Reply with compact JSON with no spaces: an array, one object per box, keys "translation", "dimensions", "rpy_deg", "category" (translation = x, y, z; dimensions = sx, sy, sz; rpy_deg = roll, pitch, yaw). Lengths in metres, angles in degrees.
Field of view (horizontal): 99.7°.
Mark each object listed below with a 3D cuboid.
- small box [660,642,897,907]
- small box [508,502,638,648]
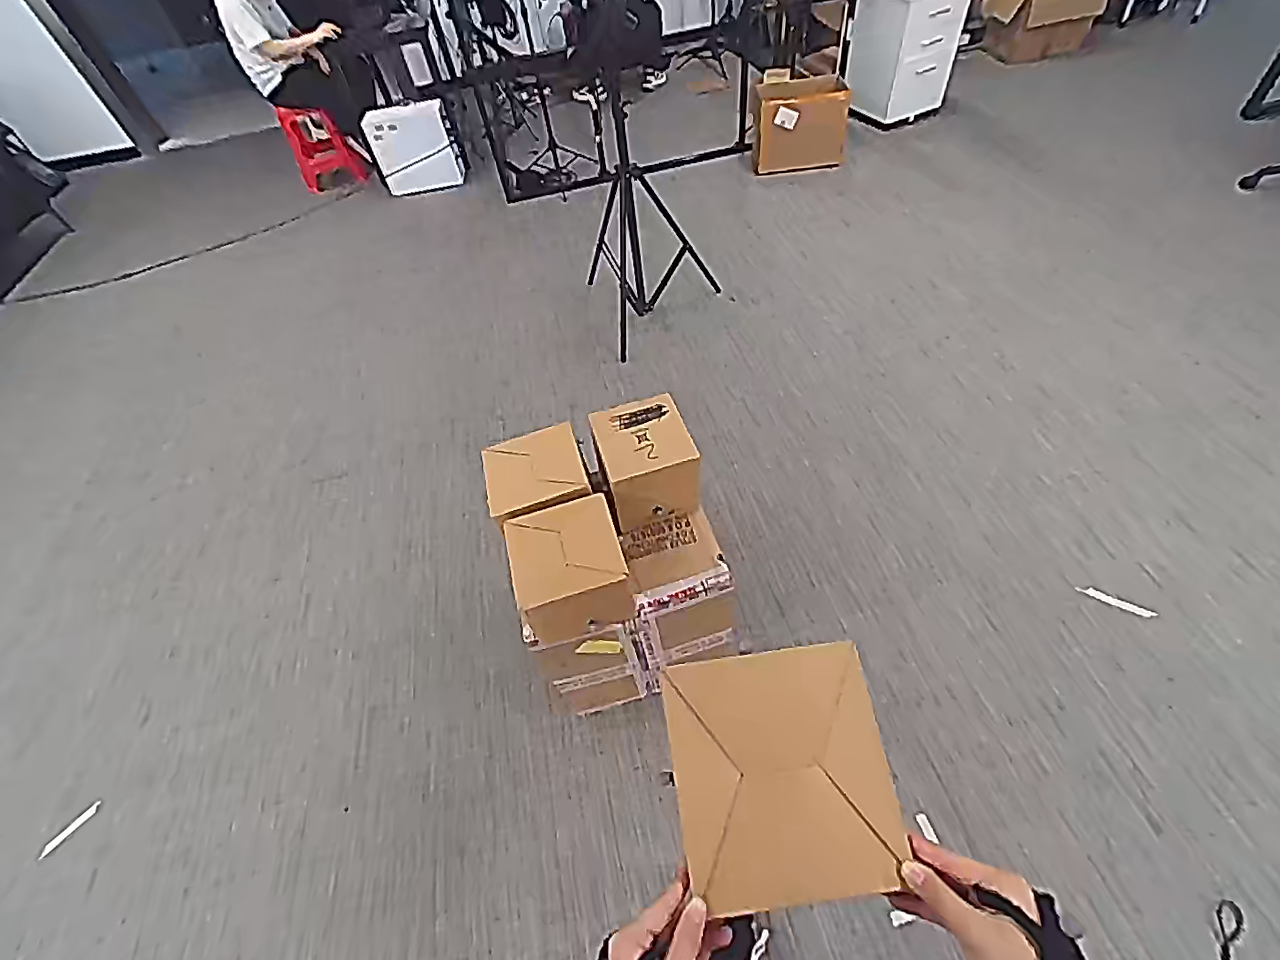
[{"translation":[0.110,0.256,0.500],"dimensions":[0.168,0.176,0.179],"rpy_deg":[-8,69,-2],"category":"small box"},{"translation":[-0.116,0.160,0.930],"dimensions":[0.179,0.176,0.168],"rpy_deg":[-17,54,-5],"category":"small box"}]
